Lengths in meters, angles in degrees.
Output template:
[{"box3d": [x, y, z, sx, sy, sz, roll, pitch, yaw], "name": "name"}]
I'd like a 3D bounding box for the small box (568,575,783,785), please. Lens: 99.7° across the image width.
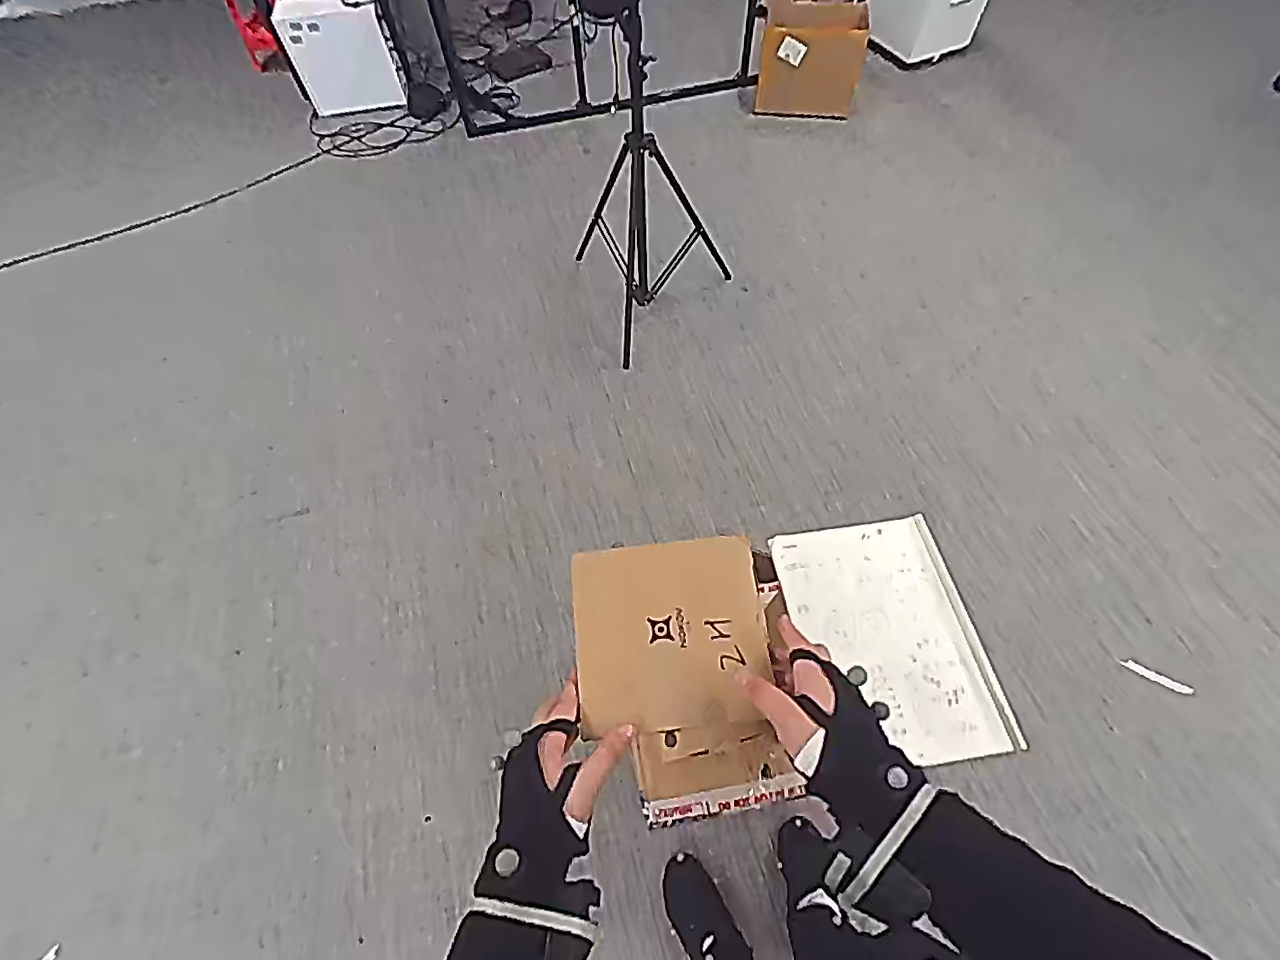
[{"box3d": [0.029, 0.202, 0.545, 0.179, 0.176, 0.168, -5, 67, -1], "name": "small box"}]
